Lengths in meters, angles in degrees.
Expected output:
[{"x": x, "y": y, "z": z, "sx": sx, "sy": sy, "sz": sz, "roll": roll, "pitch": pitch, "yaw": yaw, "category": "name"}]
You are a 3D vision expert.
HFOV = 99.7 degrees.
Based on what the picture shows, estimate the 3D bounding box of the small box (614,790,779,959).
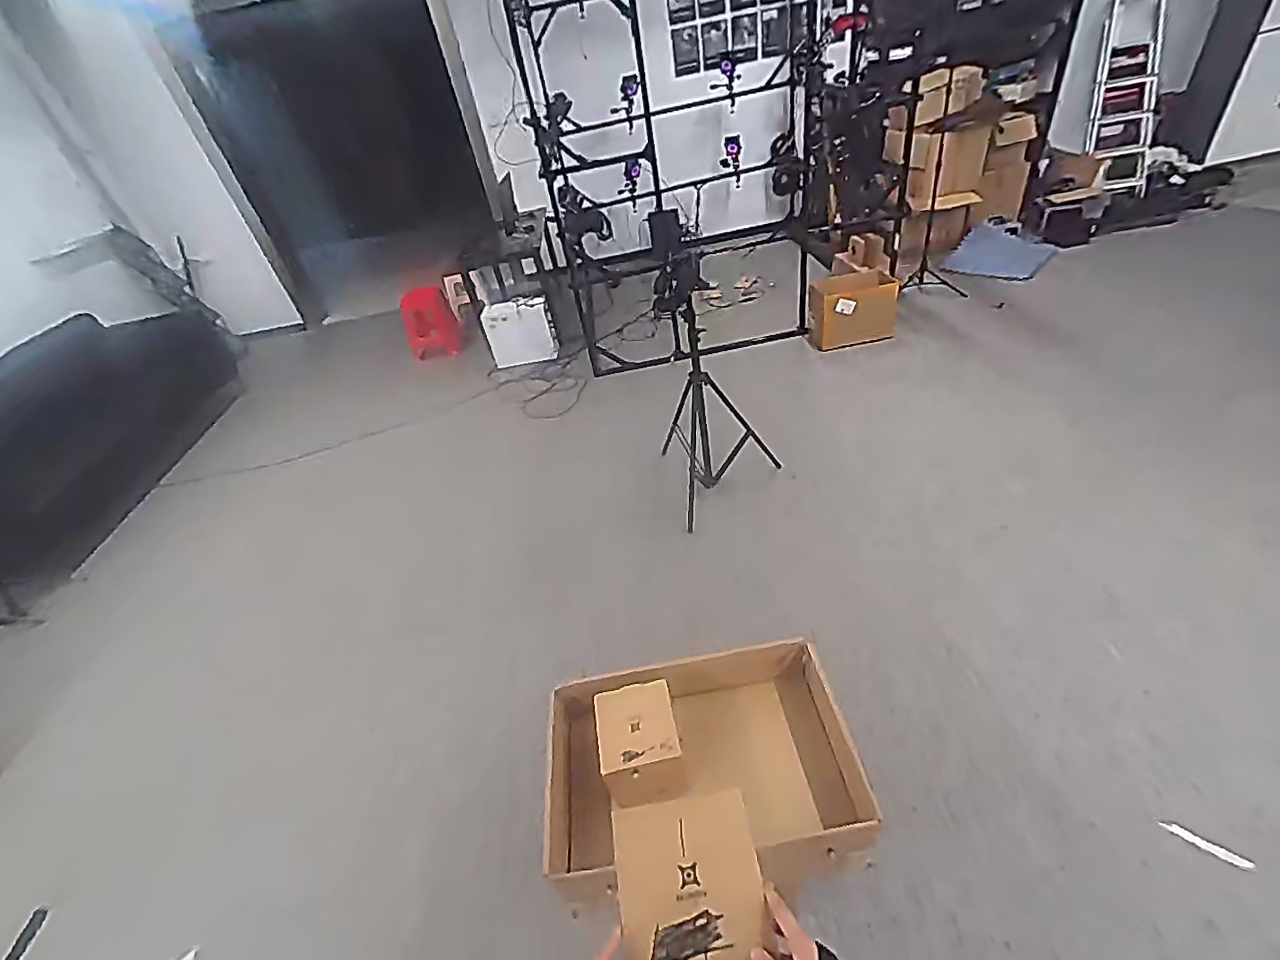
[{"x": 0.069, "y": 0.515, "z": 0.676, "sx": 0.168, "sy": 0.176, "sz": 0.179, "roll": -11, "pitch": 47, "yaw": 0, "category": "small box"}]

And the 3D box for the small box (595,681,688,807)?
[{"x": 0.002, "y": 0.577, "z": 1.184, "sx": 0.168, "sy": 0.176, "sz": 0.179, "roll": -13, "pitch": 37, "yaw": 0, "category": "small box"}]
